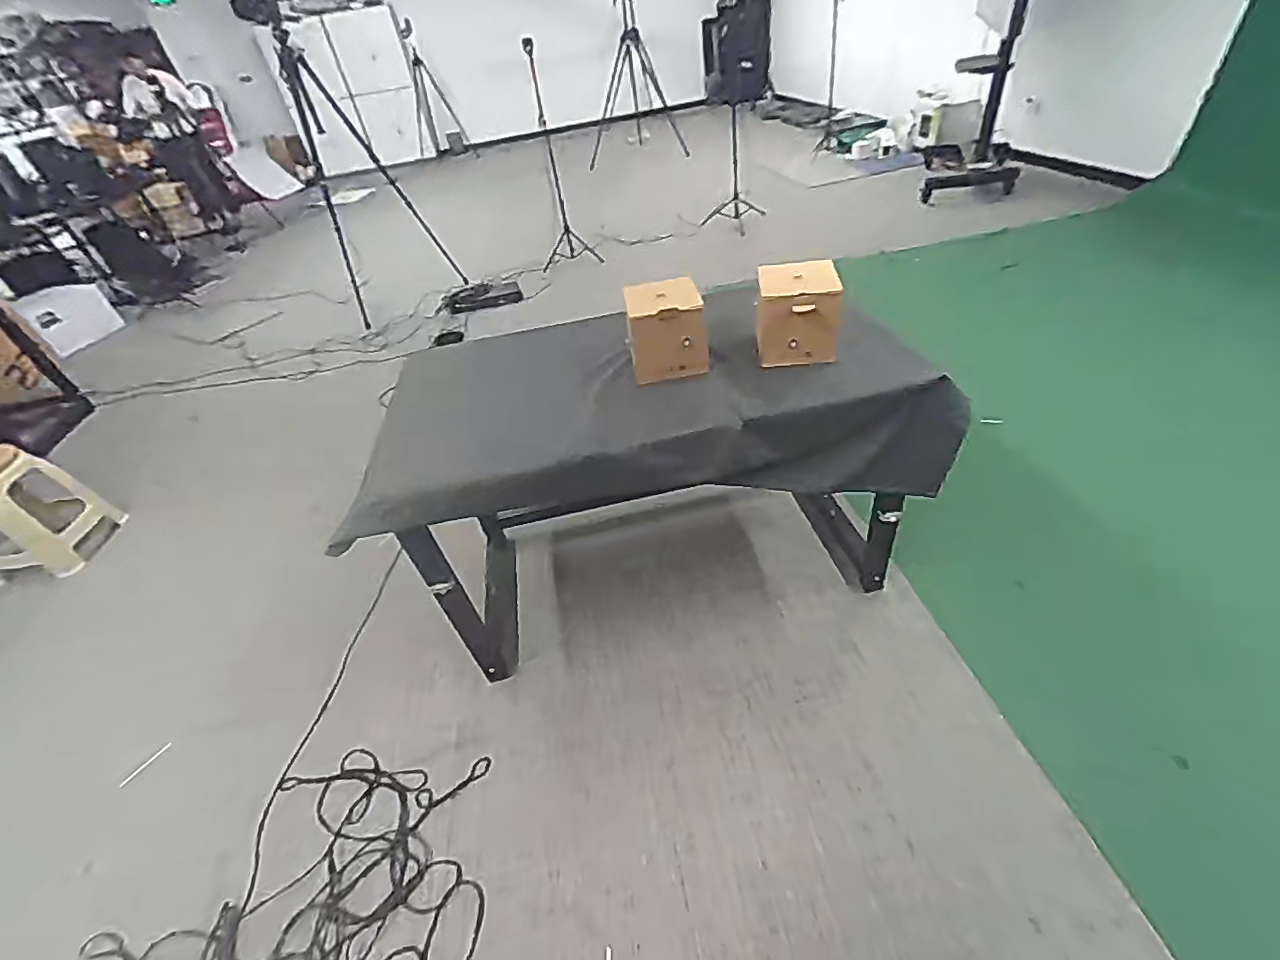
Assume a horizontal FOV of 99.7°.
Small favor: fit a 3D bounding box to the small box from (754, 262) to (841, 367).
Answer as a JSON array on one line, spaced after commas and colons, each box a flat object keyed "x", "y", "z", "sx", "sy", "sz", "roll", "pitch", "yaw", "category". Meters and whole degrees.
[{"x": 0.348, "y": -0.373, "z": 1.223, "sx": 0.168, "sy": 0.176, "sz": 0.179, "roll": -2, "pitch": 42, "yaw": 9, "category": "small box"}]

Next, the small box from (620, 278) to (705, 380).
[{"x": 0.053, "y": -0.341, "z": 1.249, "sx": 0.168, "sy": 0.176, "sz": 0.179, "roll": -10, "pitch": 40, "yaw": -1, "category": "small box"}]
